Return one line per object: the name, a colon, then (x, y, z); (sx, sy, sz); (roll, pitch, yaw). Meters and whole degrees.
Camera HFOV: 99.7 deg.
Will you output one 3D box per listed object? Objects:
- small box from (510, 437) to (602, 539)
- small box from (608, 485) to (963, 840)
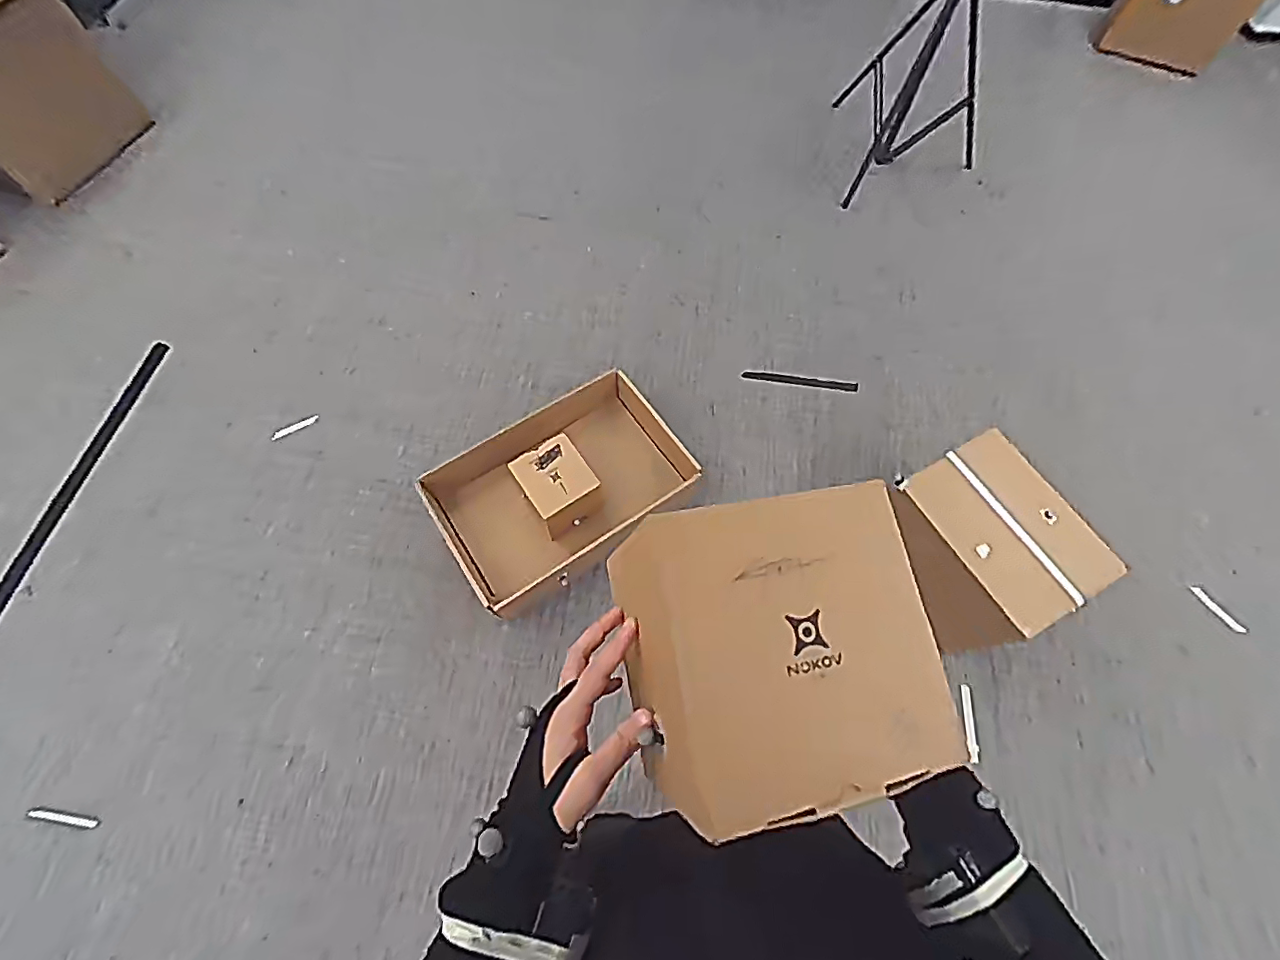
small box: (-0.213, 0.026, 1.400); (0.168, 0.176, 0.179); (-32, 71, -15)
small box: (0.081, 0.118, 0.395); (0.168, 0.176, 0.179); (-8, 74, -15)
